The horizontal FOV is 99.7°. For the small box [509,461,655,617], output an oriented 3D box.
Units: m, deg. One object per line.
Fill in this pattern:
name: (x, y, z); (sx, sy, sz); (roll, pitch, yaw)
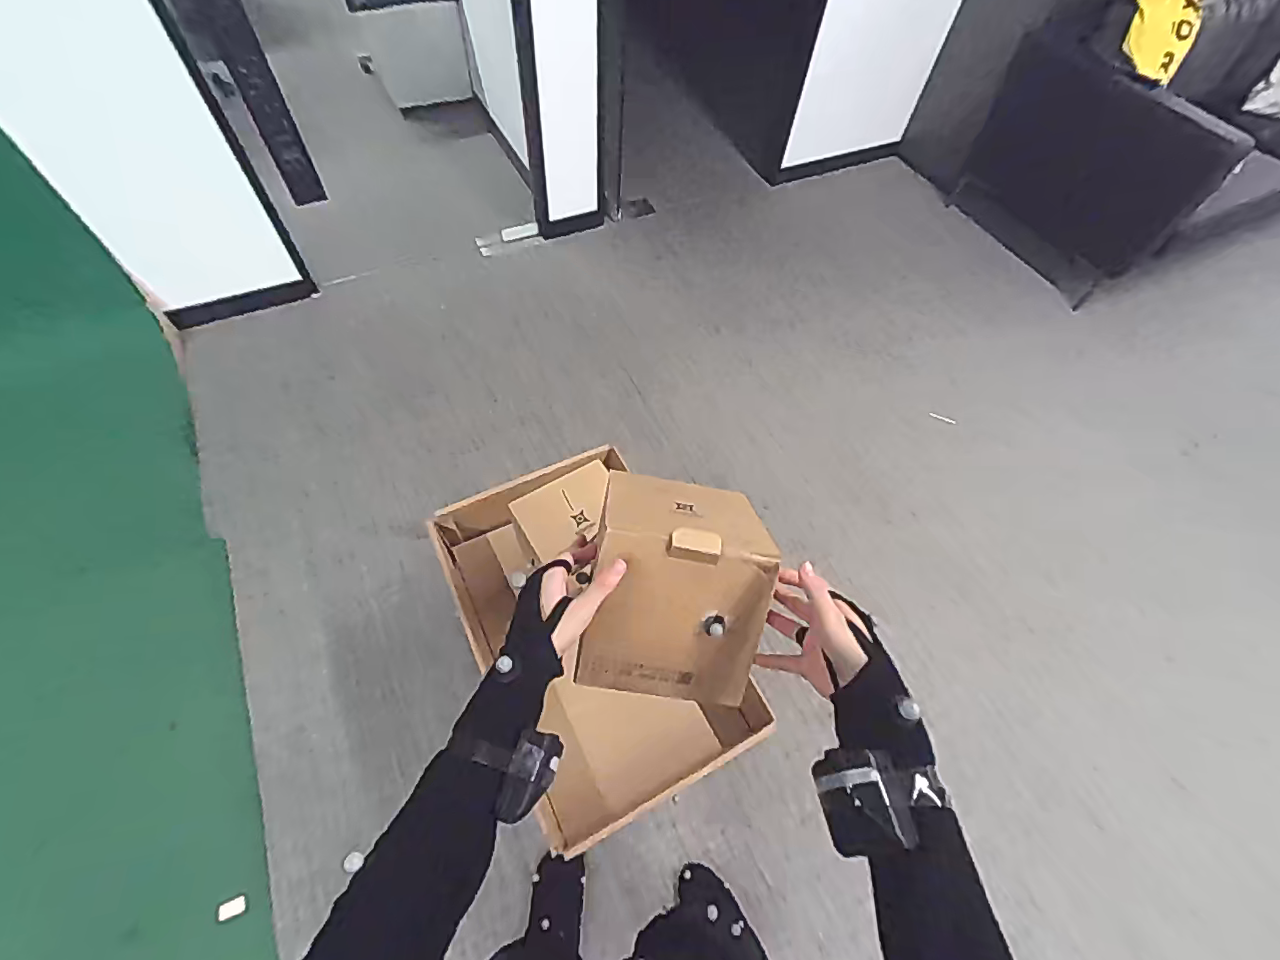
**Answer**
small box: (-0.095, 0.106, 0.887); (0.168, 0.176, 0.179); (-27, 66, -19)
